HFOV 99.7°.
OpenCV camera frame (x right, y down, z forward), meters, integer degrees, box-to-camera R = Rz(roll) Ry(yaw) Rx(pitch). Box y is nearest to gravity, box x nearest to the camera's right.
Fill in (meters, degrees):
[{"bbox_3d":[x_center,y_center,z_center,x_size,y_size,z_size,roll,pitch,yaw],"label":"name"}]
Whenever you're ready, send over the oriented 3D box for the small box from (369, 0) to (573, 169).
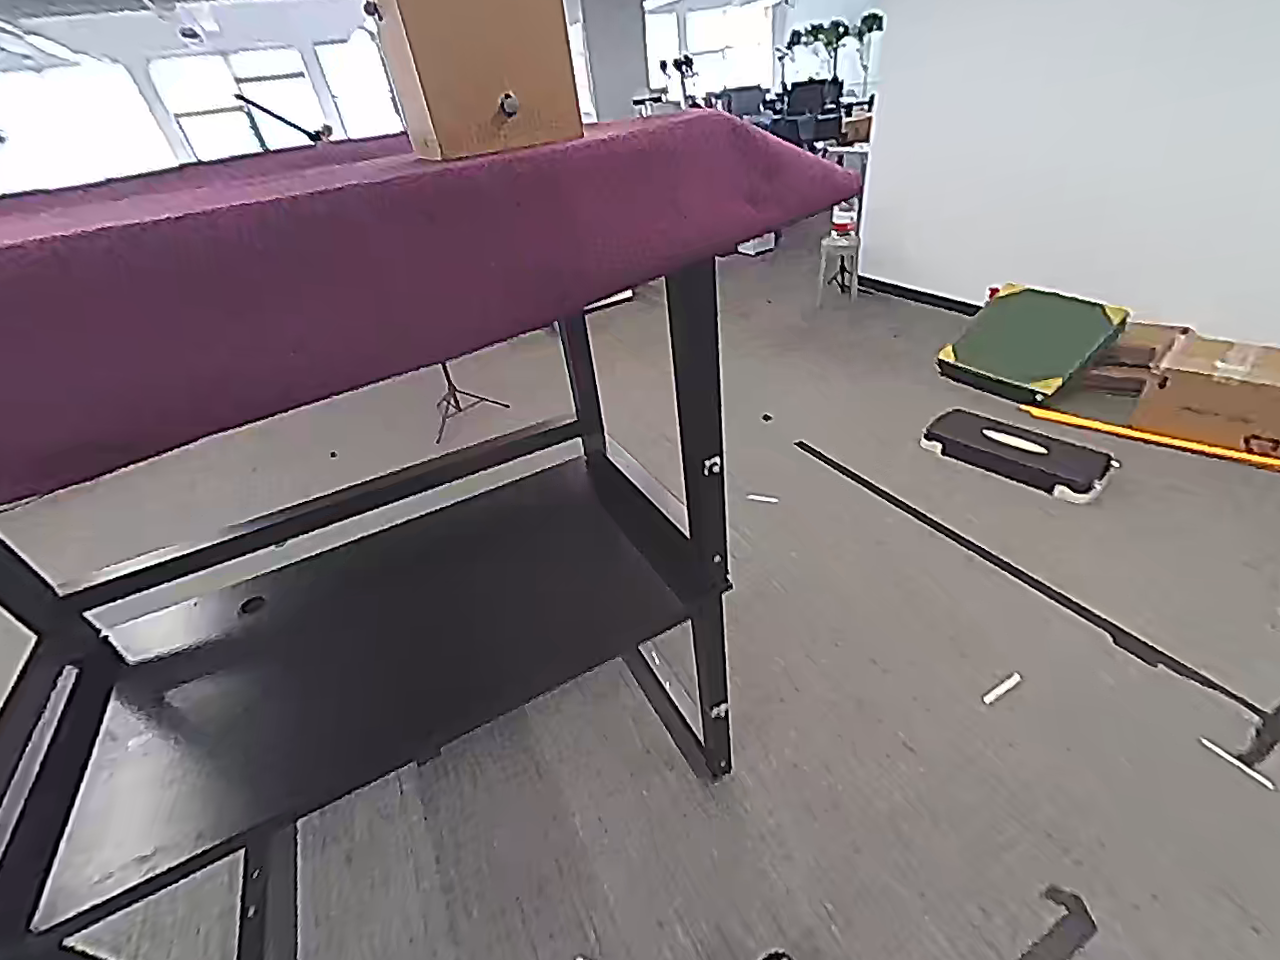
[{"bbox_3d":[-0.189,-0.476,0.632,0.179,0.176,0.168,-23,37,-20],"label":"small box"}]
